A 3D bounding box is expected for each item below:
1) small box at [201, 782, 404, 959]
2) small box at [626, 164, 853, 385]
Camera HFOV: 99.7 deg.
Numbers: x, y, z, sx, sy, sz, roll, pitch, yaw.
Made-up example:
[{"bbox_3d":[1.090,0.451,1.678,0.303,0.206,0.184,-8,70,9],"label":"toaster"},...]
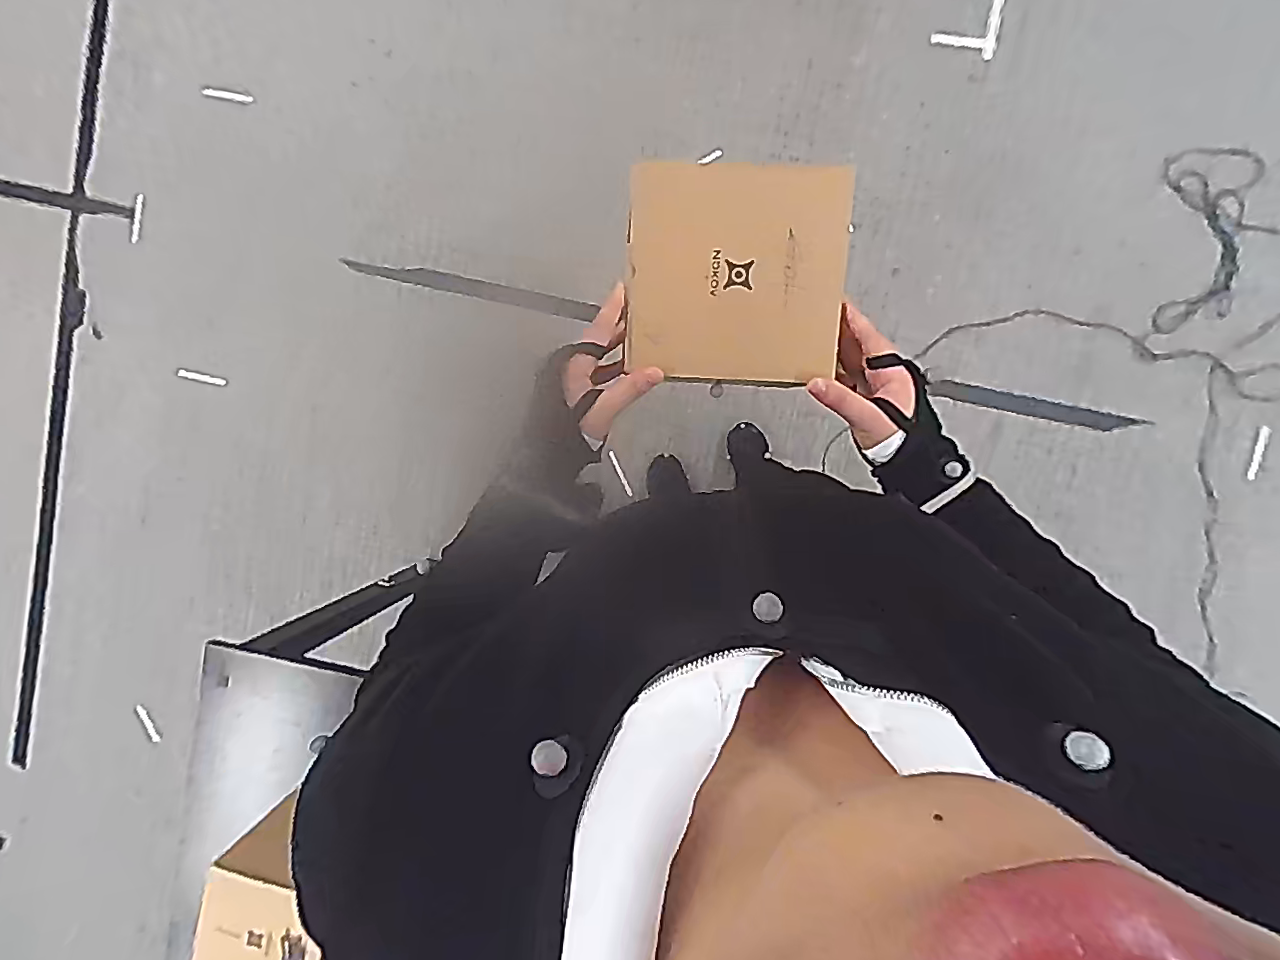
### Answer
[{"bbox_3d":[-0.470,0.574,0.778,0.179,0.176,0.168,14,95,4],"label":"small box"},{"bbox_3d":[0.083,-0.181,0.521,0.179,0.176,0.168,3,99,2],"label":"small box"}]
